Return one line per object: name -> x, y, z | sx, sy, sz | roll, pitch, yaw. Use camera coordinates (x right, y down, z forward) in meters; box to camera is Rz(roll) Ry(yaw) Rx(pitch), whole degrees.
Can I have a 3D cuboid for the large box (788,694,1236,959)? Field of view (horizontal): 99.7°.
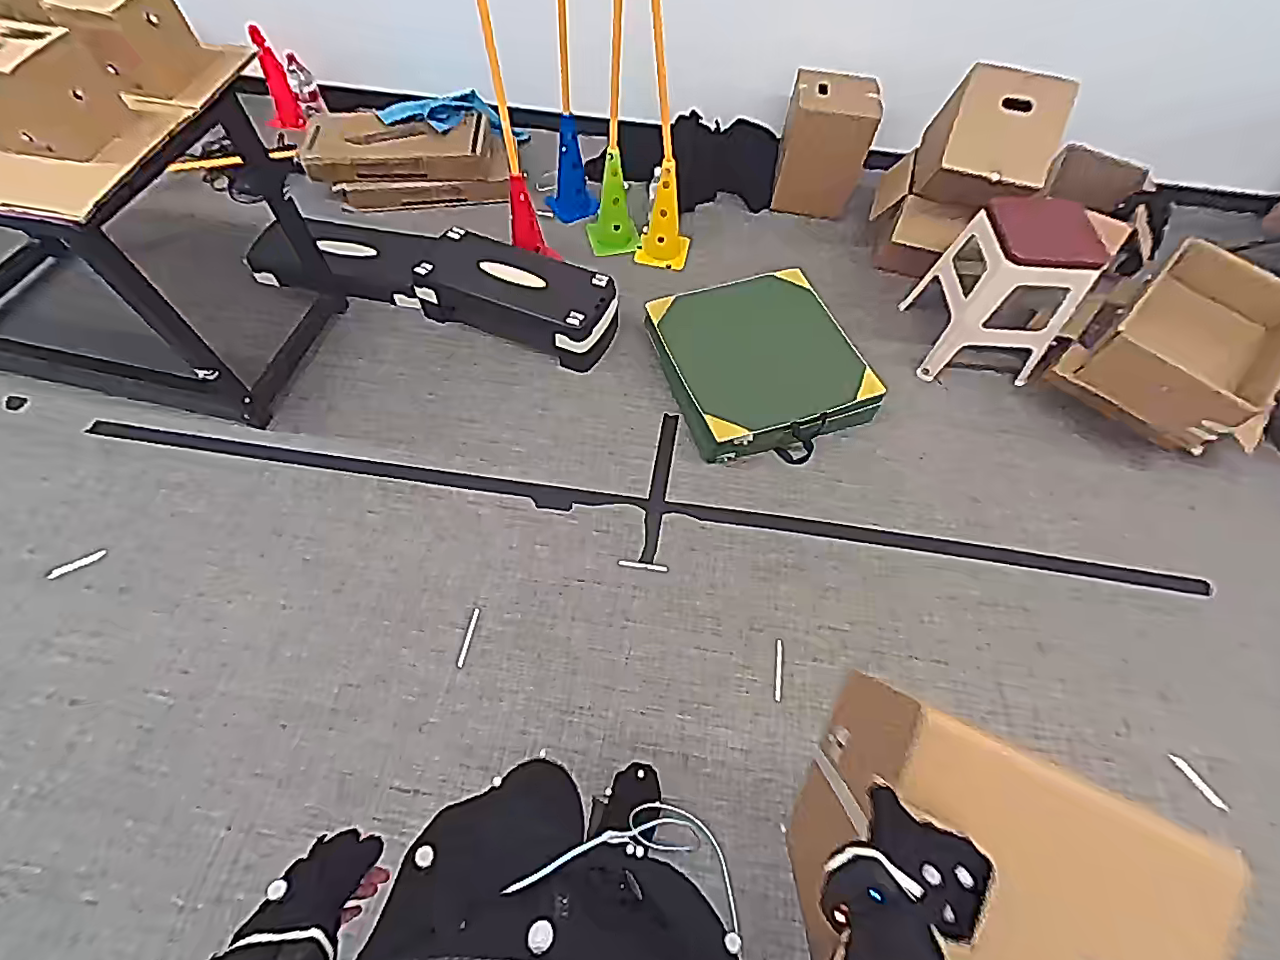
large box -> 0.416, 0.523, 0.719 | 0.320, 0.408, 0.320 | 27, 82, 18
